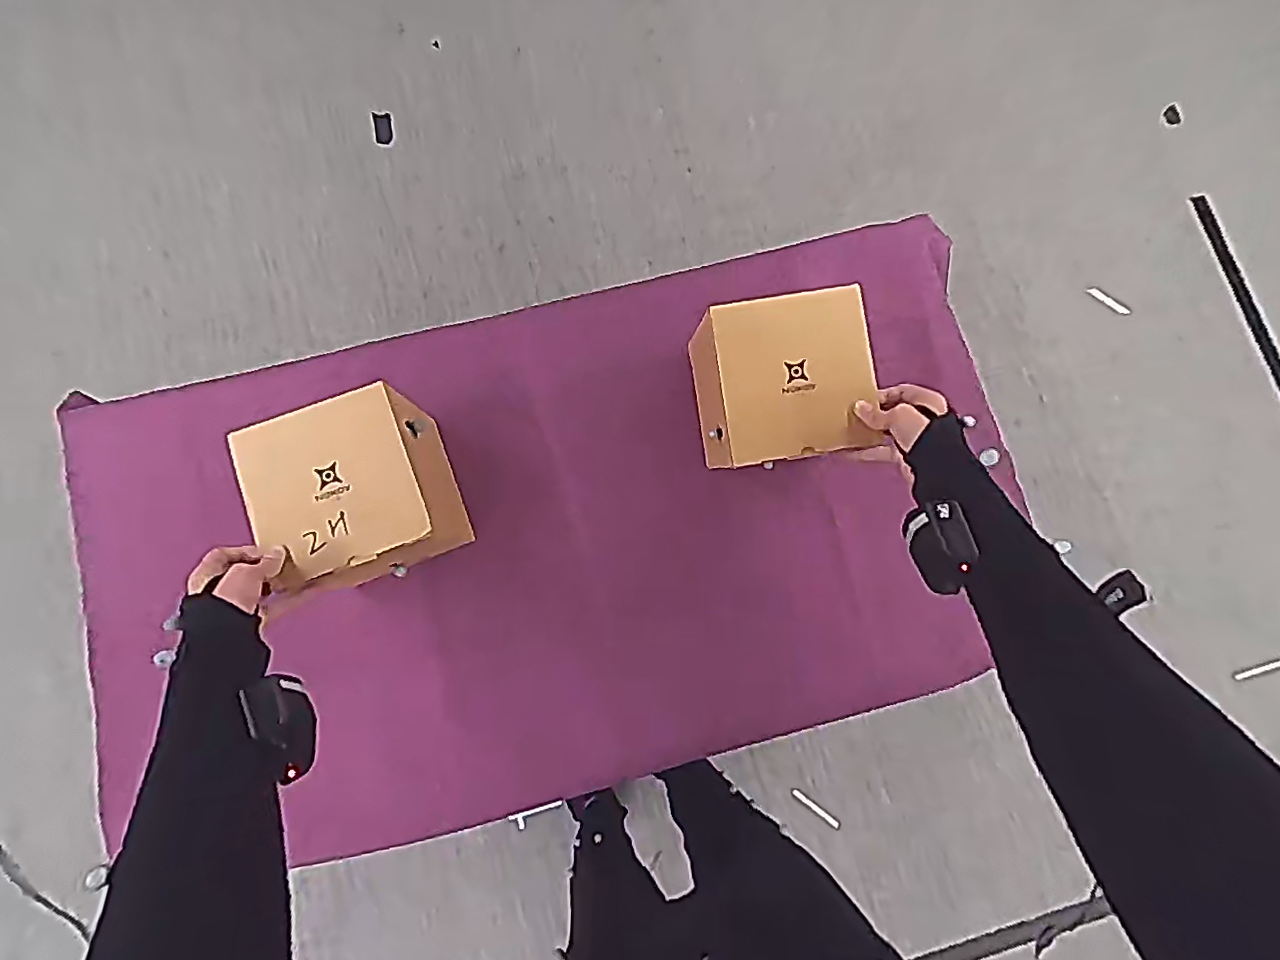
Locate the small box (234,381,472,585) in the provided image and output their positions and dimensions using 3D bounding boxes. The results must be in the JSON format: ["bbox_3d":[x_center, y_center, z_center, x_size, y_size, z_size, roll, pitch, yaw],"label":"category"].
[{"bbox_3d":[-0.318,0.013,0.634,0.168,0.176,0.179,-21,83,-5],"label":"small box"}]

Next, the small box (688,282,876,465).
[{"bbox_3d":[0.159,-0.116,0.659,0.168,0.176,0.179,-10,92,-2],"label":"small box"}]
